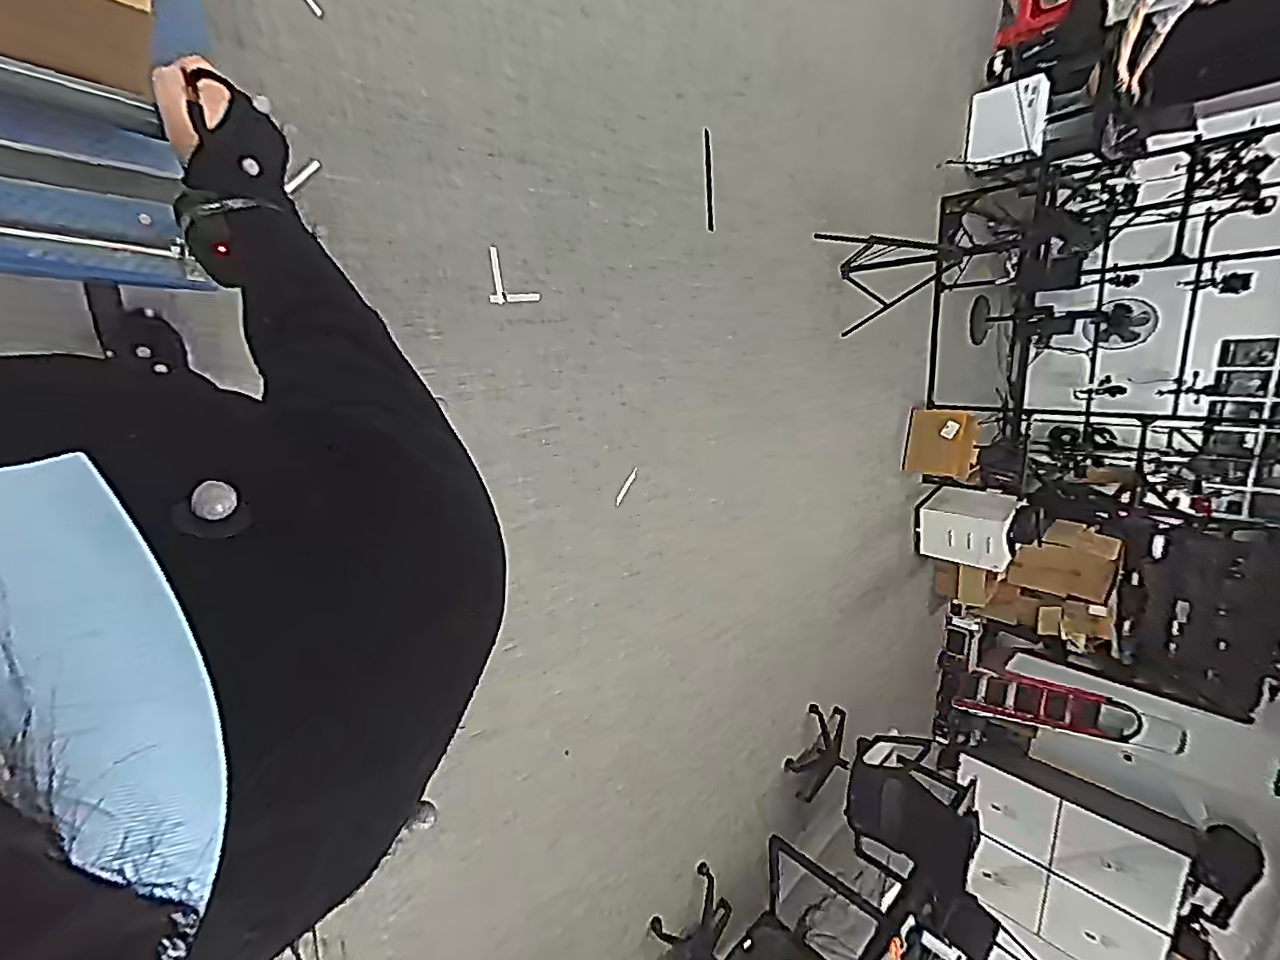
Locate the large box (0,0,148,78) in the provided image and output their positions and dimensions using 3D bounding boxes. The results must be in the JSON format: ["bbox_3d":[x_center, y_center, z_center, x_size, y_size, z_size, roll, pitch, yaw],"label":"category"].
[{"bbox_3d":[-0.876,-0.779,0.647,0.408,0.320,0.320,-5,101,-42],"label":"large box"}]
